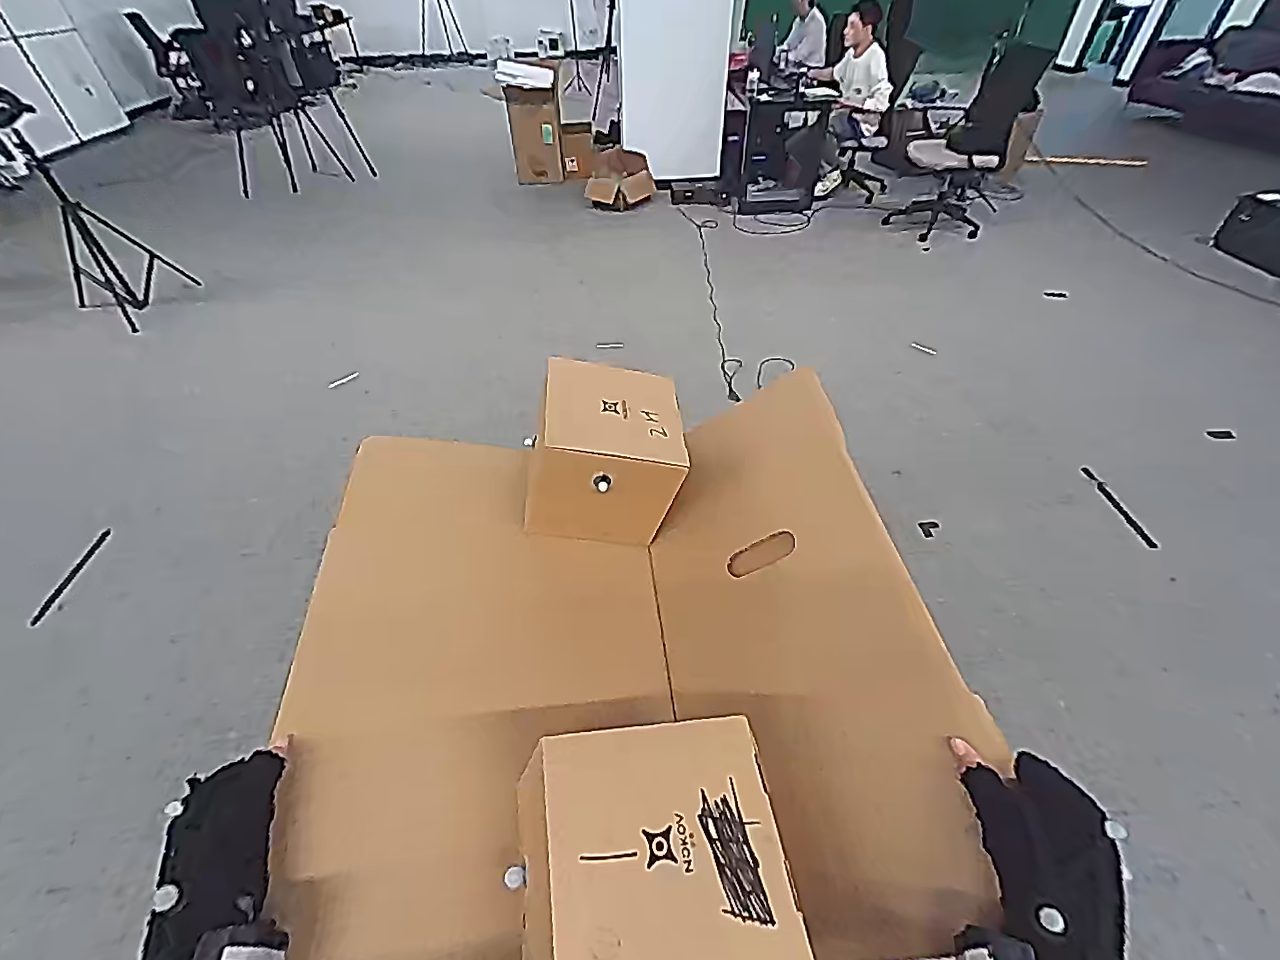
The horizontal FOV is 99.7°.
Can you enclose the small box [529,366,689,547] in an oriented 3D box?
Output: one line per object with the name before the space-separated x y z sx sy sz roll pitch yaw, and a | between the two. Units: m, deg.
small box | -0.050 -0.026 0.732 0.179 0.176 0.168 9 47 -15
